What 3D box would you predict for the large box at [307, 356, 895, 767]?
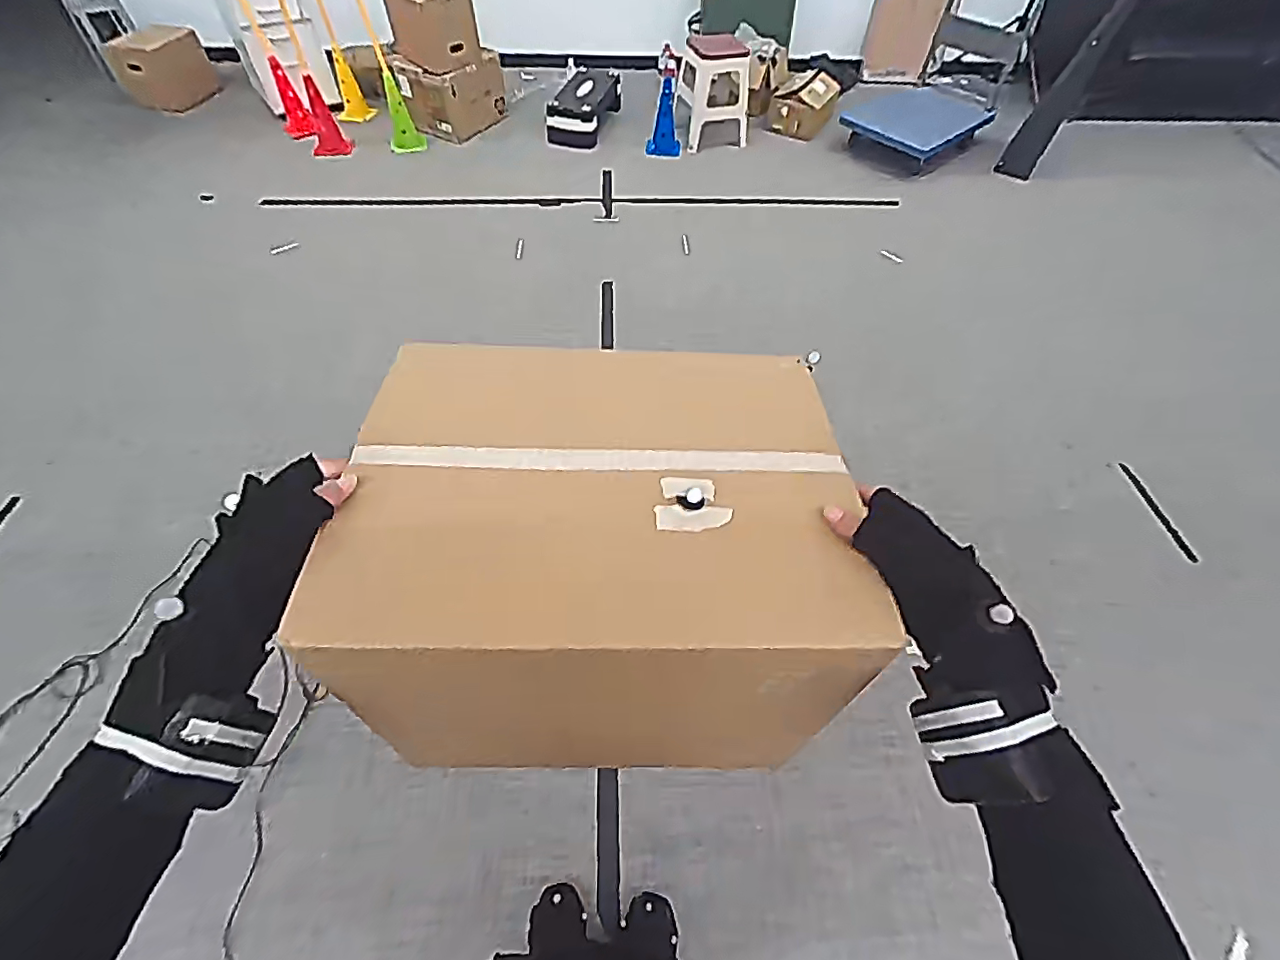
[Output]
[{"bbox_3d":[-0.035,0.091,0.568,0.408,0.320,0.320,2,50,-4],"label":"large box"}]
